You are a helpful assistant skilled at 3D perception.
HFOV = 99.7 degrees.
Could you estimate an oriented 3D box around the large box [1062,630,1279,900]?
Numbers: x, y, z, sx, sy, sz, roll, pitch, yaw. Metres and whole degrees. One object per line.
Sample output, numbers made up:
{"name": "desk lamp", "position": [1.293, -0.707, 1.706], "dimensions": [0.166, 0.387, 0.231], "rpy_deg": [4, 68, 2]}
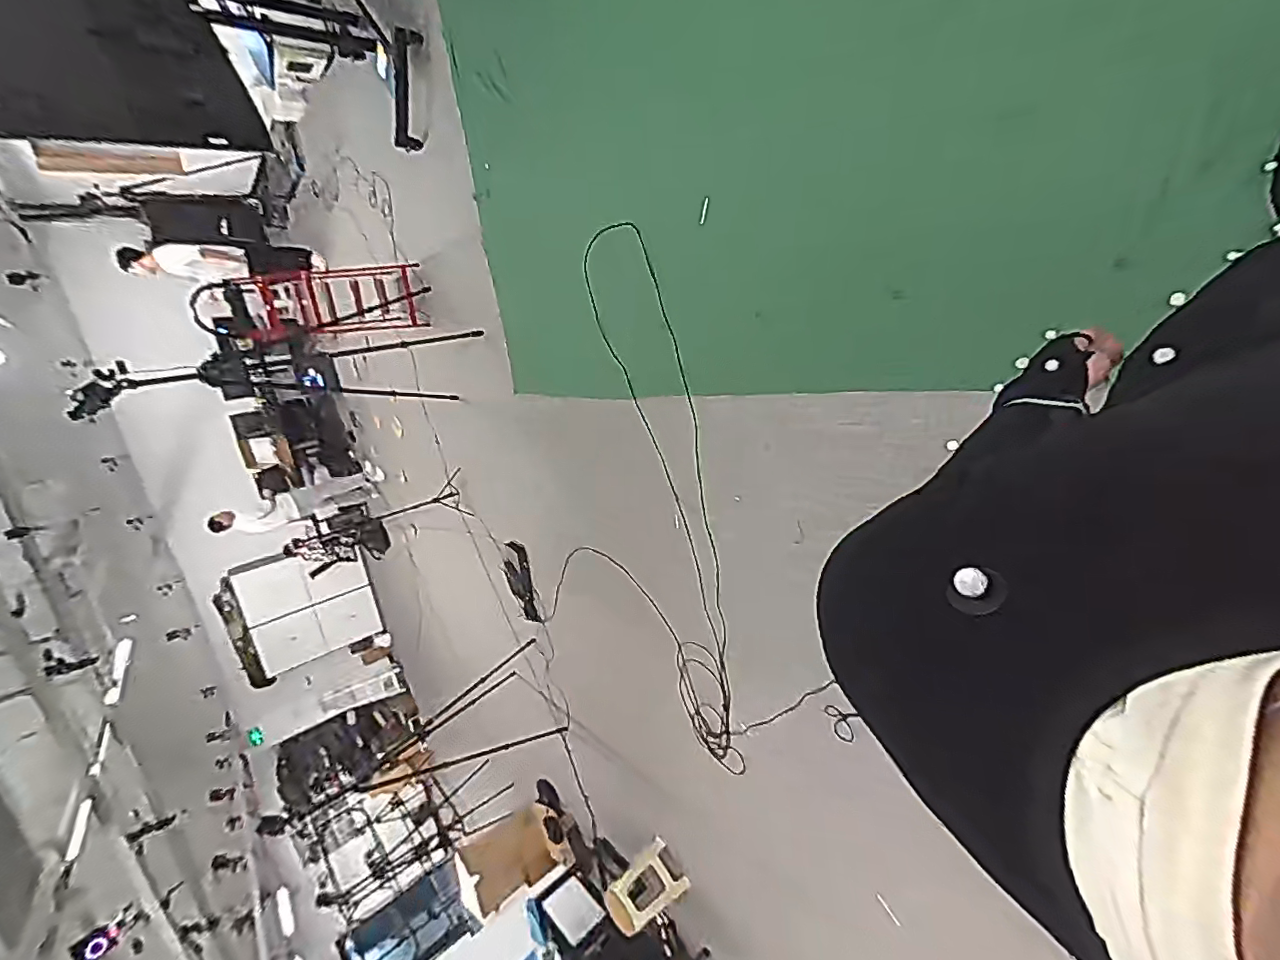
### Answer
{"name": "large box", "position": [1.256, 0.603, 1.206], "dimensions": [0.408, 0.320, 0.320], "rpy_deg": [22, 123, 44]}
